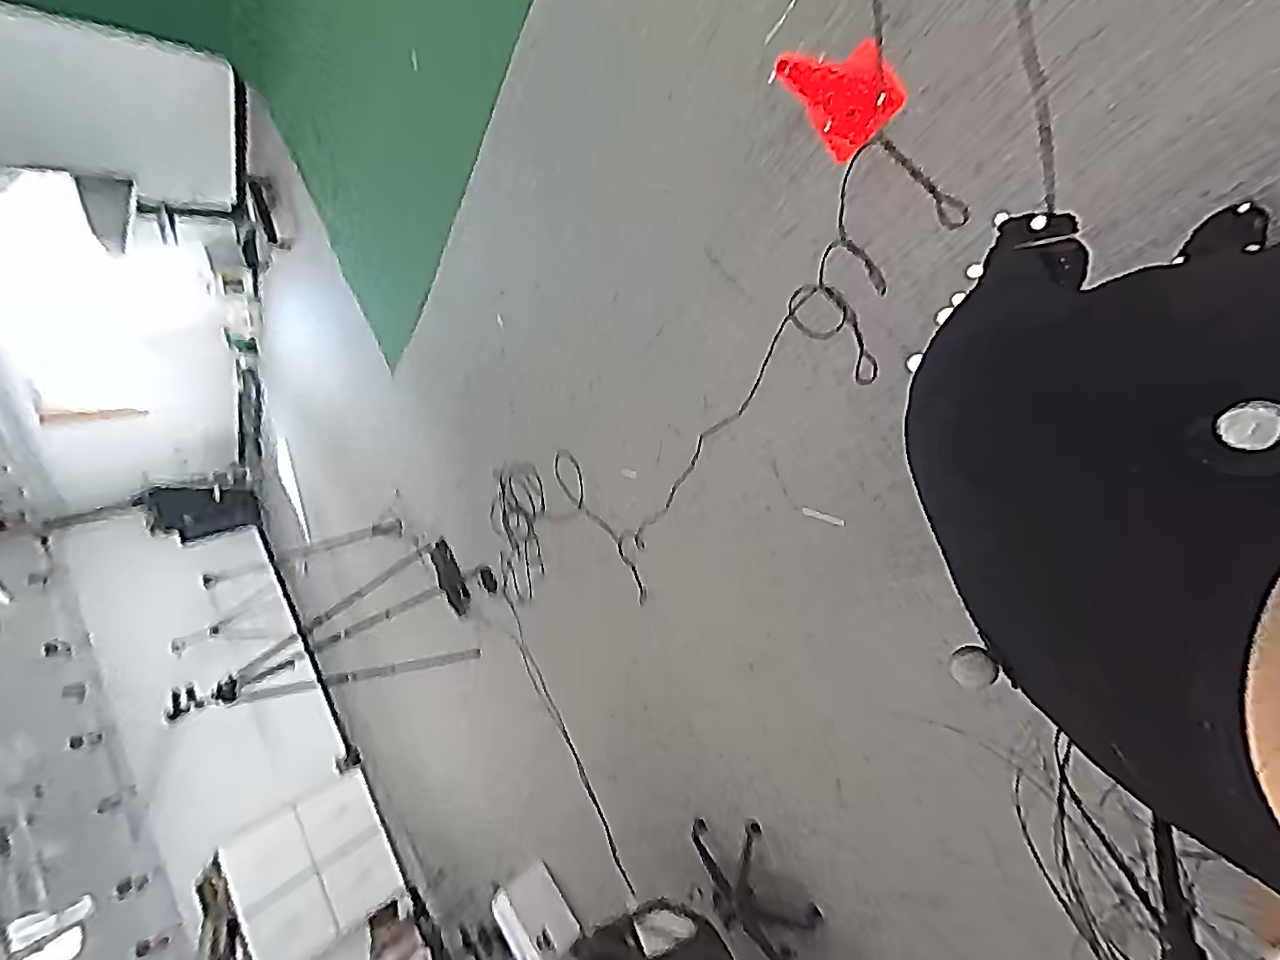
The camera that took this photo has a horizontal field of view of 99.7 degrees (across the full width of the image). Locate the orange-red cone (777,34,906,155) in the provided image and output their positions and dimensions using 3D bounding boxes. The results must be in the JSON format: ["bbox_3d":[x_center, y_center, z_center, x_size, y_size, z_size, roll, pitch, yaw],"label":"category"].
[{"bbox_3d":[0.424,-0.929,1.247,0.198,0.360,0.199,-33,78,46],"label":"orange-red cone"}]
